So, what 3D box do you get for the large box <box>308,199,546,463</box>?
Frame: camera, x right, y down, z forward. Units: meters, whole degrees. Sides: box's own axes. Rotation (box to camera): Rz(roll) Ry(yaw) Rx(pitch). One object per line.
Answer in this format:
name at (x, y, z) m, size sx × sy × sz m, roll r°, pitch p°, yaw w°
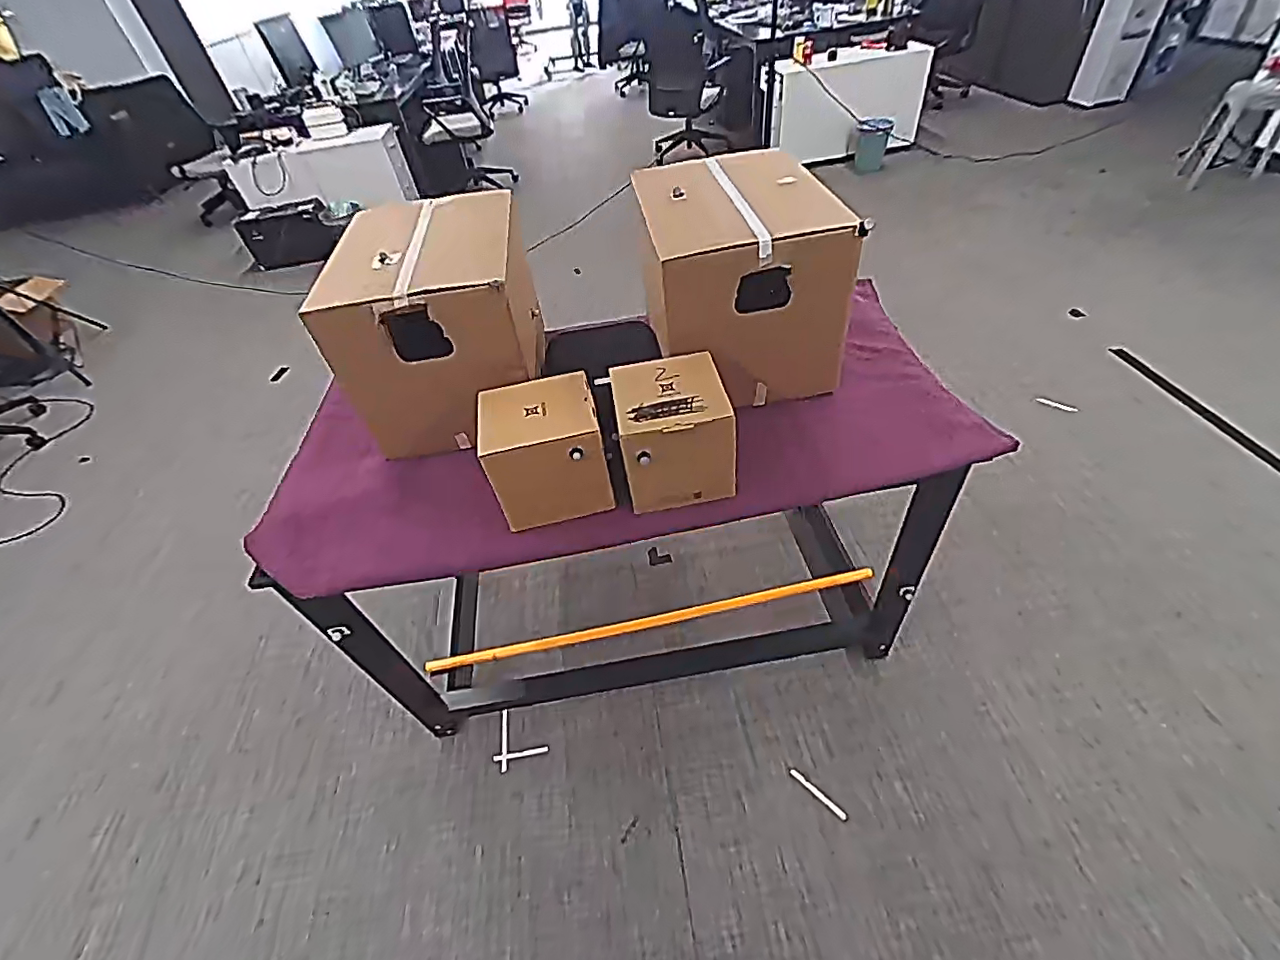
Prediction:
large box at (-0.371, -0.297, 1.057) m, size 0.320 × 0.320 × 0.408 m, roll -11°, pitch 48°, yaw -1°
